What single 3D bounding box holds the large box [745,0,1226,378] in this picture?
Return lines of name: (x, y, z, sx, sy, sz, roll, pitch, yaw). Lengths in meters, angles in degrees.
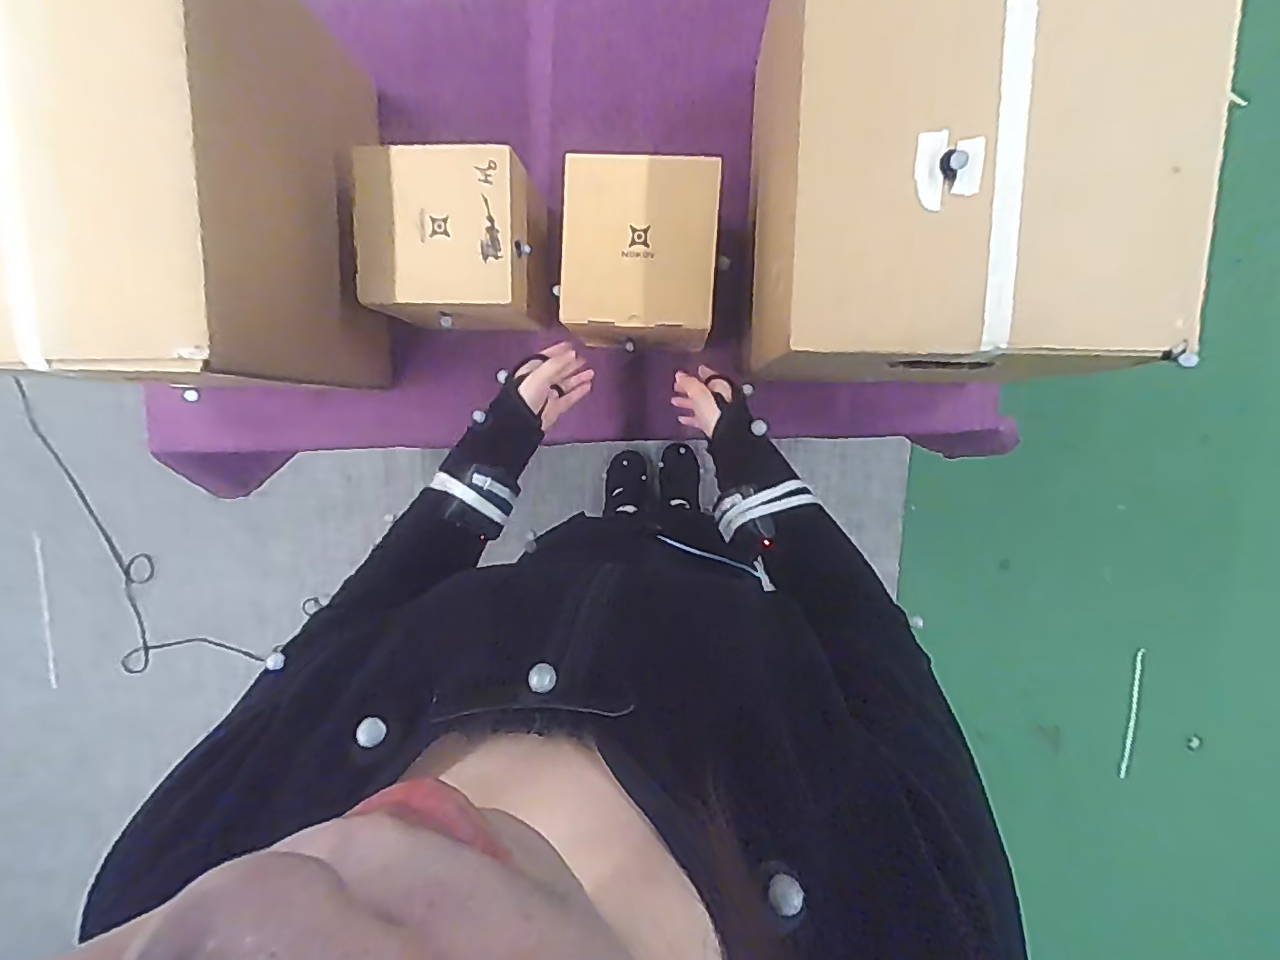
large box: (0.293, -0.322, 0.568, 0.320, 0.320, 0.408, 2, 97, 3)
